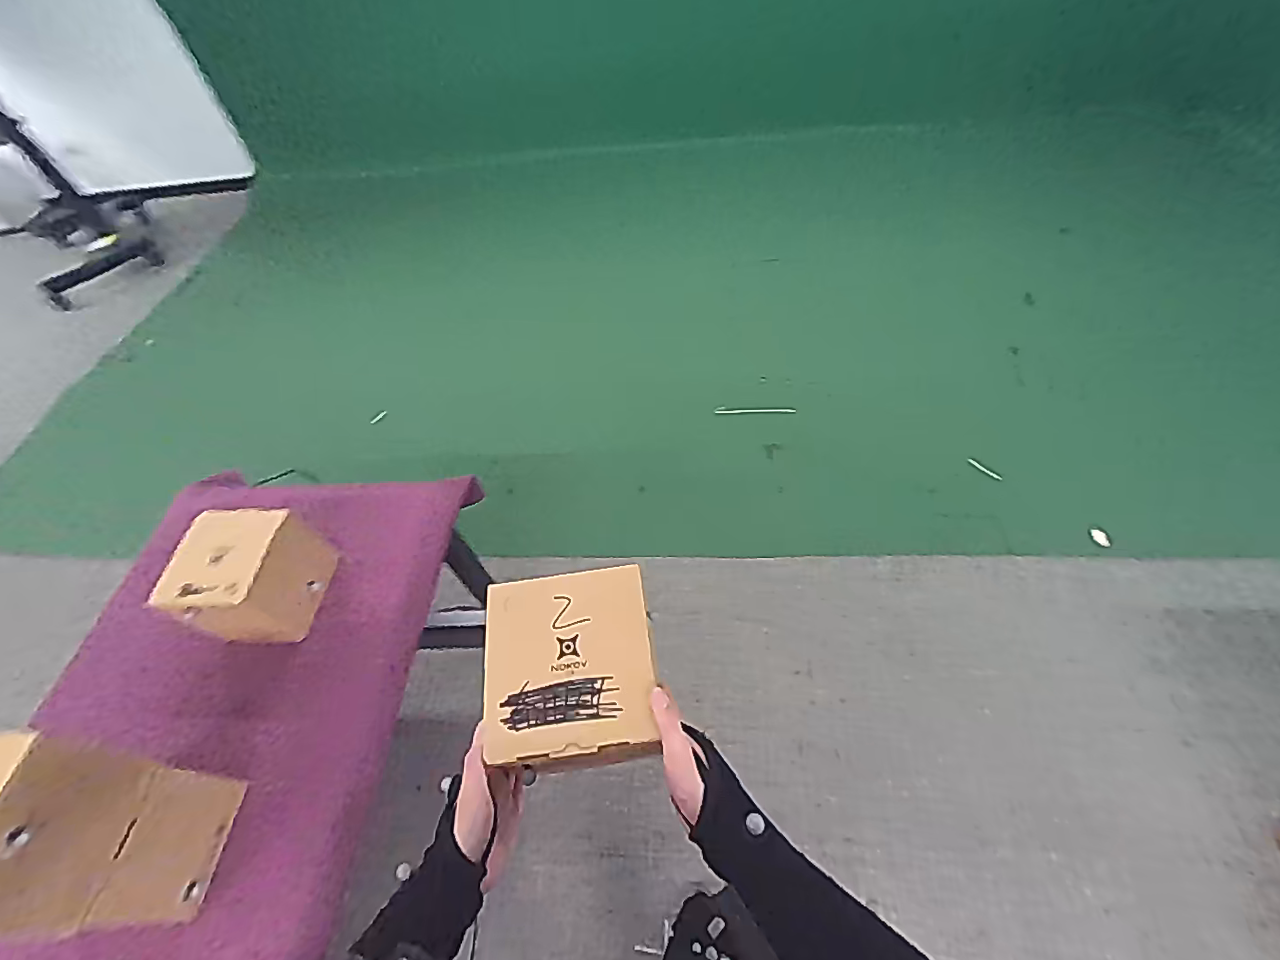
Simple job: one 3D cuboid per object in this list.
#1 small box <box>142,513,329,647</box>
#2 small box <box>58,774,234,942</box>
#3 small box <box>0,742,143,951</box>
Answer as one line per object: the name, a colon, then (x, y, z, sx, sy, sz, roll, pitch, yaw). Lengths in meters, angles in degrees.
small box: (-0.682, 0.175, 0.943, 0.168, 0.176, 0.179, -2, 53, 6)
small box: (-0.694, 0.489, 0.710, 0.179, 0.176, 0.168, -3, 53, 6)
small box: (-0.707, 0.392, 0.580, 0.168, 0.176, 0.179, -2, 52, 5)
